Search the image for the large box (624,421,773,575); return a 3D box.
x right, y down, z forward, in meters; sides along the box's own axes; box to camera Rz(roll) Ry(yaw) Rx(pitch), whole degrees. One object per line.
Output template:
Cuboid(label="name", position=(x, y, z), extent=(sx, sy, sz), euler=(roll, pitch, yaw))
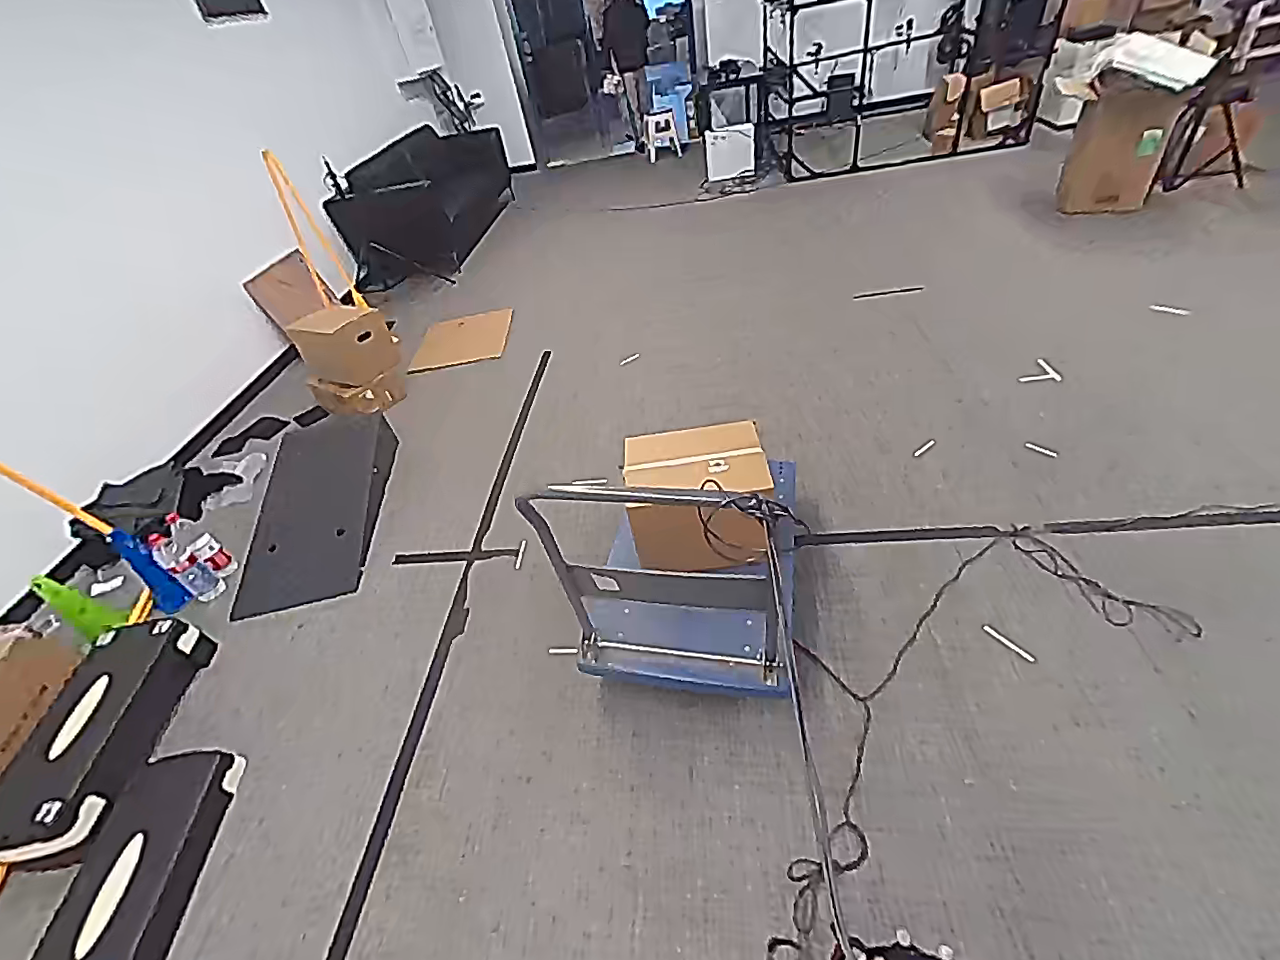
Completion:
Cuboid(label="large box", position=(0.172, 0.057, 1.651), extent=(0.408, 0.320, 0.320), euler=(-7, 42, 4))
